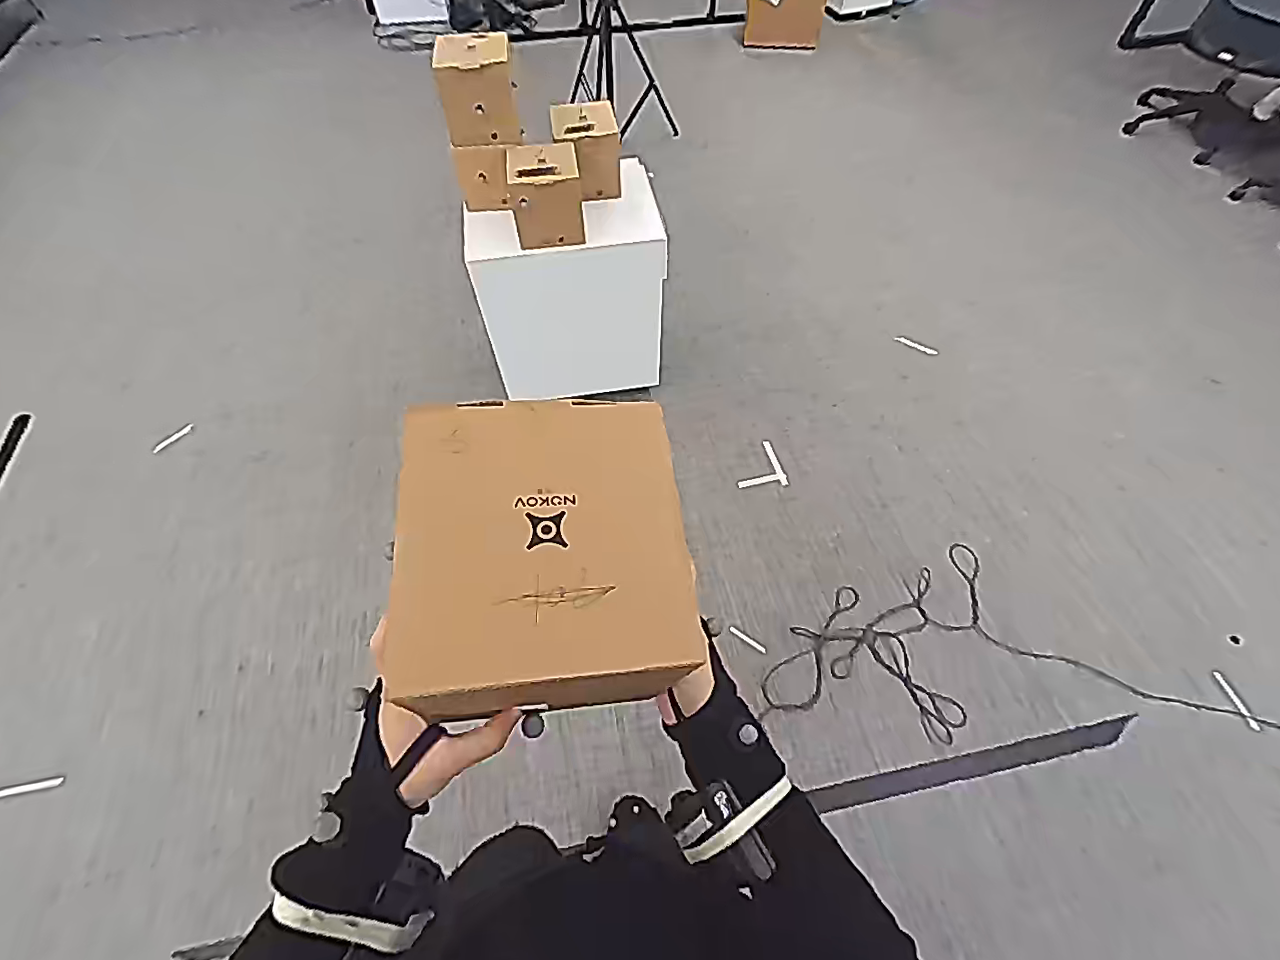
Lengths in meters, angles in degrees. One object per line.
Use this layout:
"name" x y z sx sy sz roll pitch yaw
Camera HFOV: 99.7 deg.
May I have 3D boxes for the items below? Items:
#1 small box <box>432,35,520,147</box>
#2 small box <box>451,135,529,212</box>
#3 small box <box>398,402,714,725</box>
"small box" -0.384 -0.923 1.293 0.168 0.176 0.179 -7 59 -5
"small box" -0.389 -0.829 1.428 0.168 0.176 0.179 -6 58 -4
"small box" -0.063 0.064 0.387 0.168 0.176 0.179 -4 62 -12
